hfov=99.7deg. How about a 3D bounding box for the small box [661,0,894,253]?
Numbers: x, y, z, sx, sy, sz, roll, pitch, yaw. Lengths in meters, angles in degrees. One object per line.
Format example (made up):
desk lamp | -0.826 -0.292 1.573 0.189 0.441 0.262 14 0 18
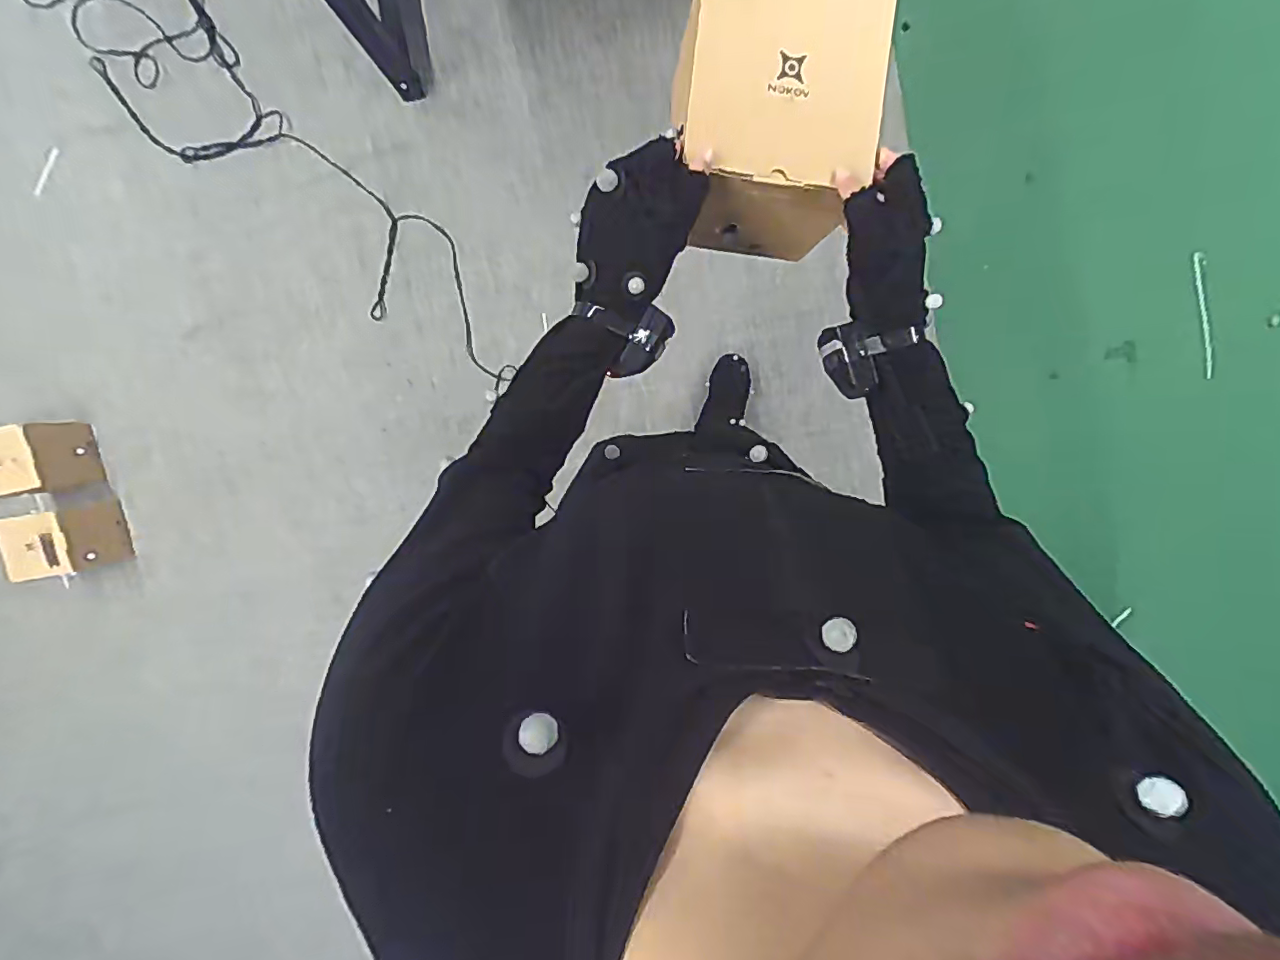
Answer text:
small box | 0.116 -0.346 0.524 0.168 0.176 0.179 5 94 -5

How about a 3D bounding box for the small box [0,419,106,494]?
small box | -1.591 -0.062 1.429 0.179 0.176 0.168 -12 96 3
